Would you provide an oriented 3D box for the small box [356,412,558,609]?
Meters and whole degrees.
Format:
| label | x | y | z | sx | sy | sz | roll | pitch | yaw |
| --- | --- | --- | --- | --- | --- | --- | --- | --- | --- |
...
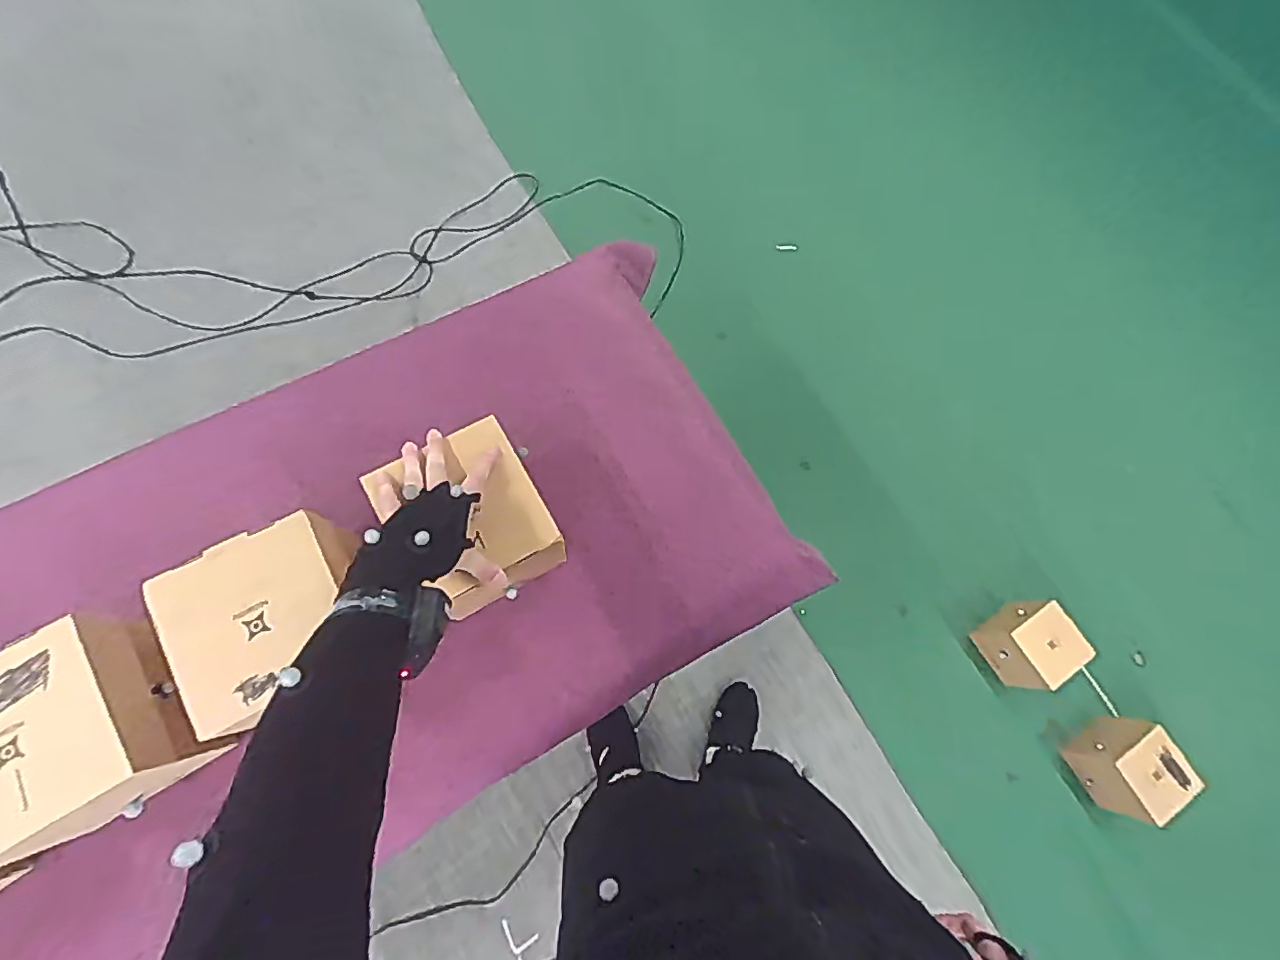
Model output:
| label | x | y | z | sx | sy | sz | roll | pitch | yaw |
| --- | --- | --- | --- | --- | --- | --- | --- | --- | --- |
| small box | -0.217 | 0.049 | 0.684 | 0.168 | 0.176 | 0.179 | -29 | 79 | -12 |

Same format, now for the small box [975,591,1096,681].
| label | x | y | z | sx | sy | sz | roll | pitch | yaw |
| --- | --- | --- | --- | --- | --- | --- | --- | --- | --- |
| small box | 1.057 | 0.424 | 1.468 | 0.179 | 0.176 | 0.168 | -30 | 79 | -14 |

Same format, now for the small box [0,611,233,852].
| label | x | y | z | sx | sy | sz | roll | pitch | yaw |
| --- | --- | --- | --- | --- | --- | --- | --- | --- | --- |
| small box | -0.597 | 0.262 | 0.582 | 0.168 | 0.176 | 0.179 | -31 | 80 | -13 |
